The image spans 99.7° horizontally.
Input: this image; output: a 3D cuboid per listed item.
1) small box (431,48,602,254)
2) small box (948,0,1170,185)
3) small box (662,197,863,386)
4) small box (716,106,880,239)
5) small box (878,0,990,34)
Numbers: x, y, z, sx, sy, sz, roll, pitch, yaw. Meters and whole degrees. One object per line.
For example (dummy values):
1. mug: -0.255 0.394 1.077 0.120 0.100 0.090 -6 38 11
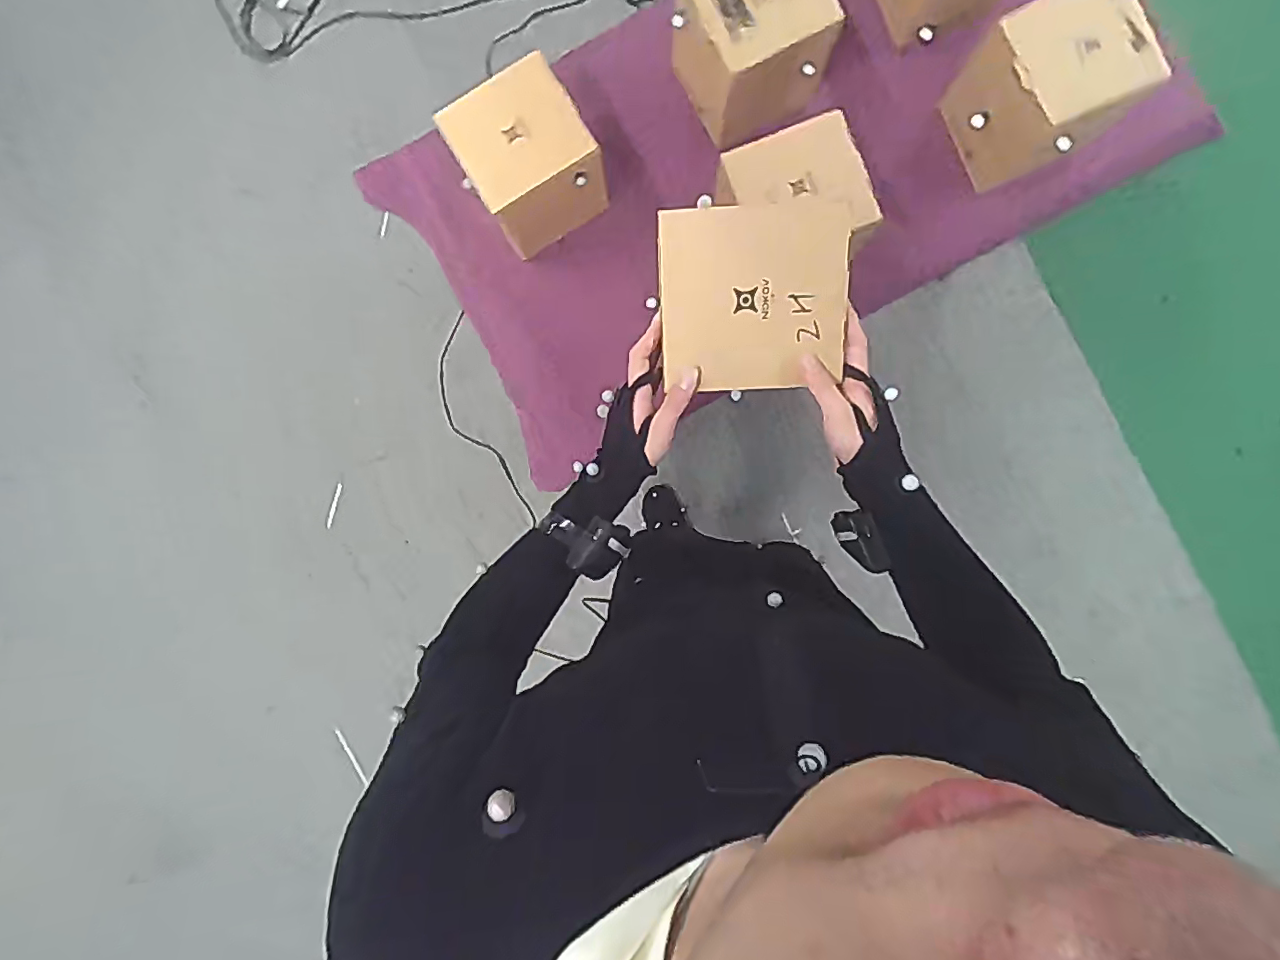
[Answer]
1. small box: -0.174 -0.481 0.822 0.179 0.176 0.168 -32 89 1
2. small box: 0.589 -0.577 0.794 0.179 0.176 0.168 -23 89 3
3. small box: 0.113 -0.190 0.572 0.179 0.176 0.168 -1 107 2
4. small box: 0.220 -0.400 0.809 0.179 0.176 0.168 -20 88 3
5. small box: 0.457 -0.814 0.798 0.168 0.176 0.179 -22 89 2
